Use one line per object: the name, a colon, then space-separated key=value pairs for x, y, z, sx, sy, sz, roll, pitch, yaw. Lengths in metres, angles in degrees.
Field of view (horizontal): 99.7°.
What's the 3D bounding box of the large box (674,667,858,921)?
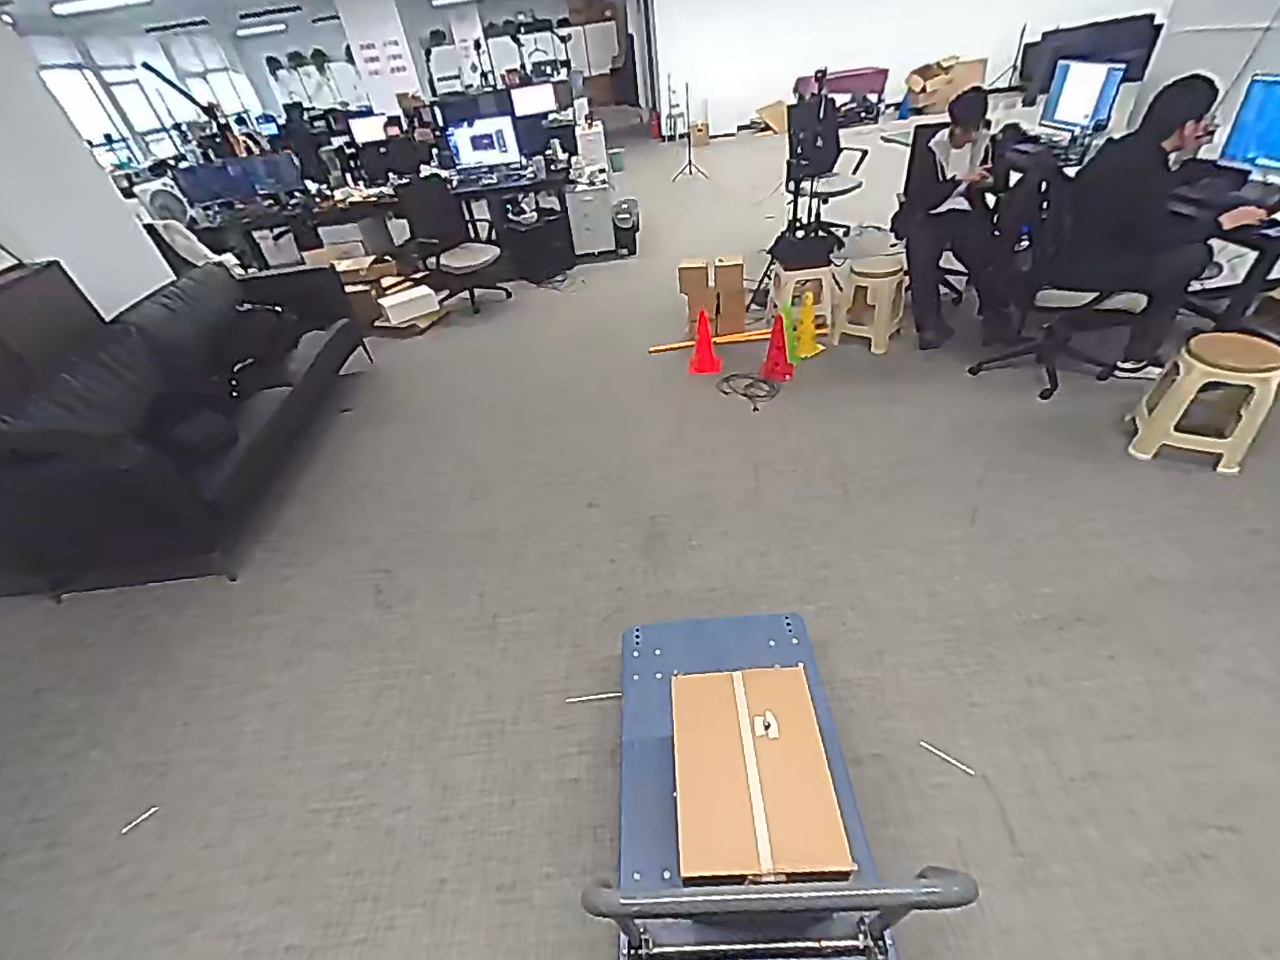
large box: x=0.253 y=0.690 z=1.207 sx=0.320 sy=0.320 sz=0.408 roll=-5 pitch=39 yaw=4
